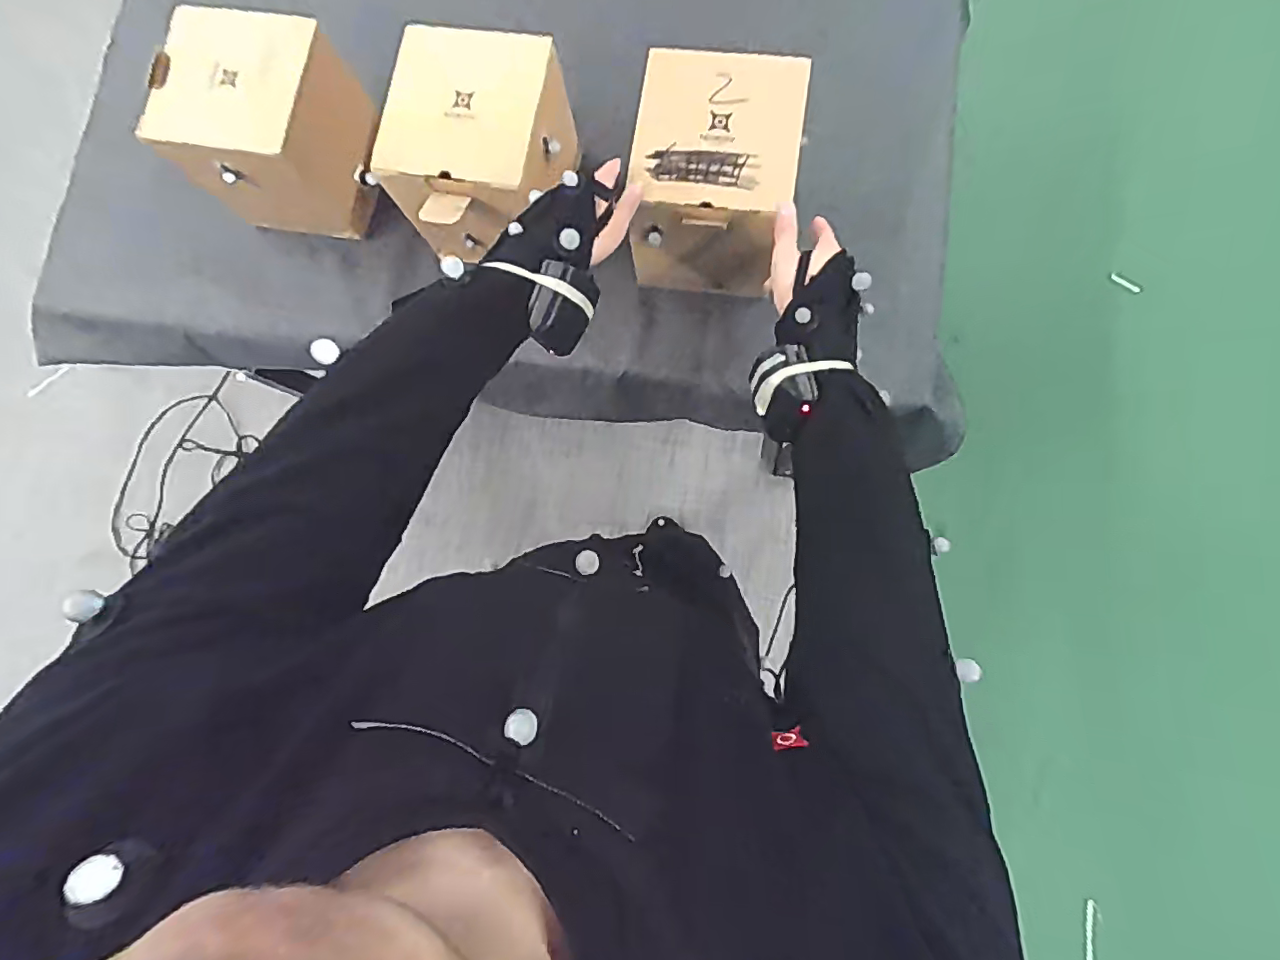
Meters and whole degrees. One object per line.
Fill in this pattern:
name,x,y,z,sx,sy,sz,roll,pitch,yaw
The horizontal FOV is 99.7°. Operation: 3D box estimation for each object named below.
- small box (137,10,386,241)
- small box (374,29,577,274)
small box,-0.443,-0.422,0.669,0.179,0.176,0.168,11,84,5
small box,-0.177,-0.377,0.643,0.168,0.176,0.179,9,83,5
